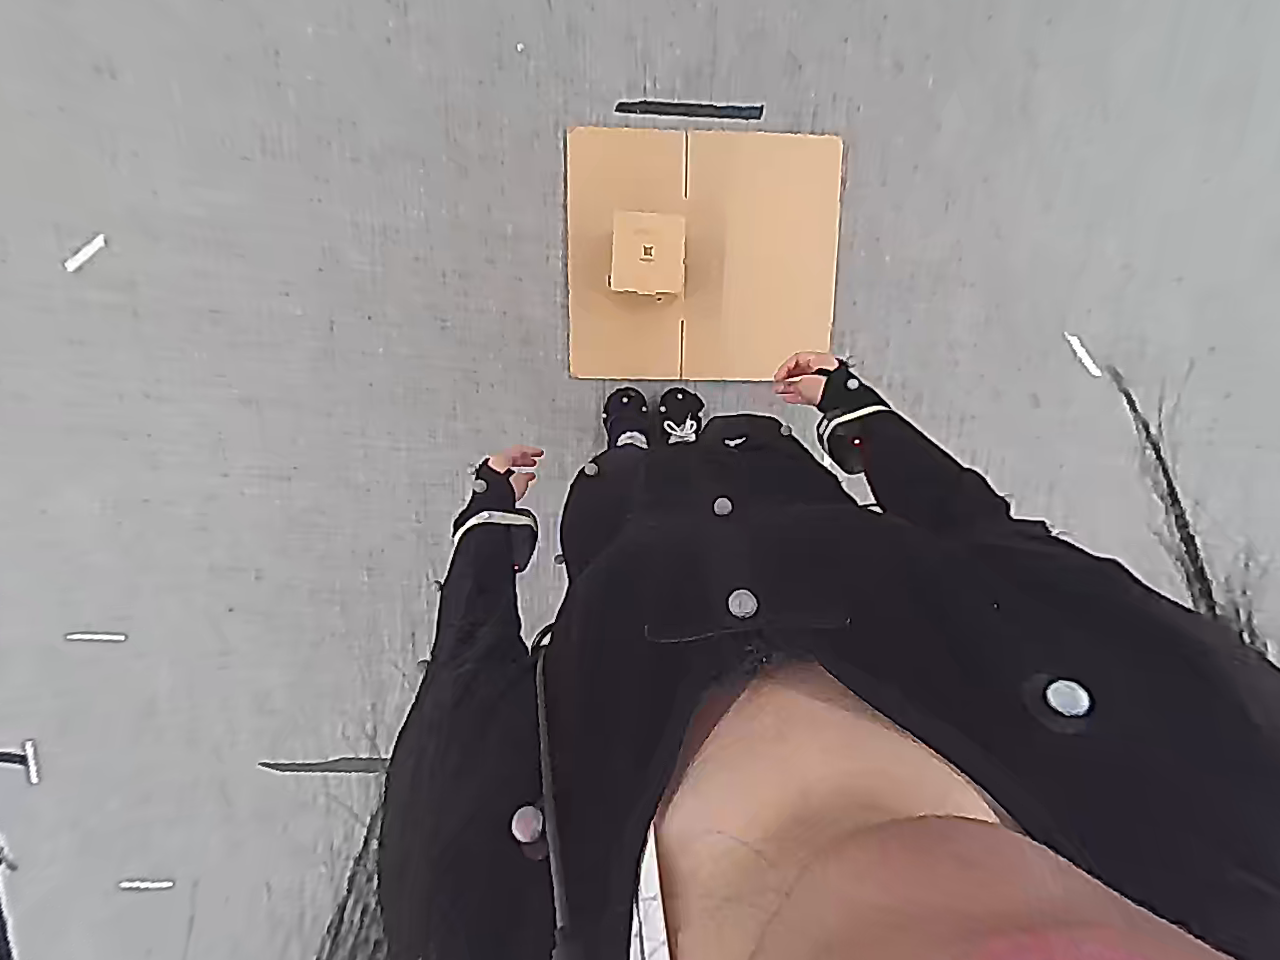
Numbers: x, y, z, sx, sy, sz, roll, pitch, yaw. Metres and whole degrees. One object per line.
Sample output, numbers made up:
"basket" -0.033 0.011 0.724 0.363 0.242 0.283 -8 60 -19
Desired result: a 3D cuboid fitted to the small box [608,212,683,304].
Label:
"small box" 0.009 -0.528 1.308 0.168 0.176 0.179 1 100 -5
